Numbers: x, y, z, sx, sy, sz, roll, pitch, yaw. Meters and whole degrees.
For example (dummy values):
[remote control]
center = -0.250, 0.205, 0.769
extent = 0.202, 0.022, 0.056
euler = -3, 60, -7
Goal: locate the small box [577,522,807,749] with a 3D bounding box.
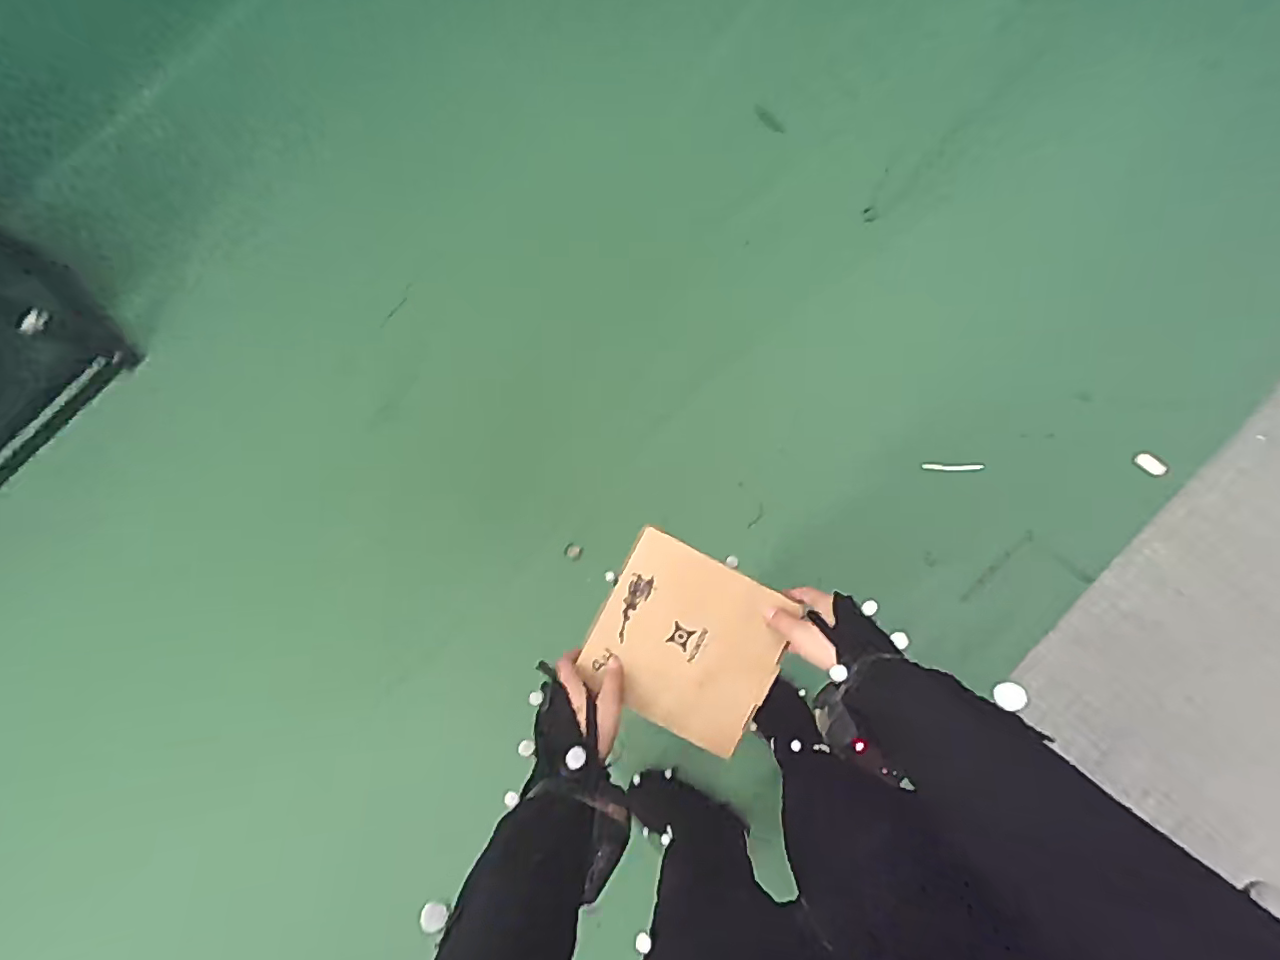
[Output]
[small box]
center = 0.051, 0.155, 0.607
extent = 0.179, 0.176, 0.168
euler = 29, 86, 2
